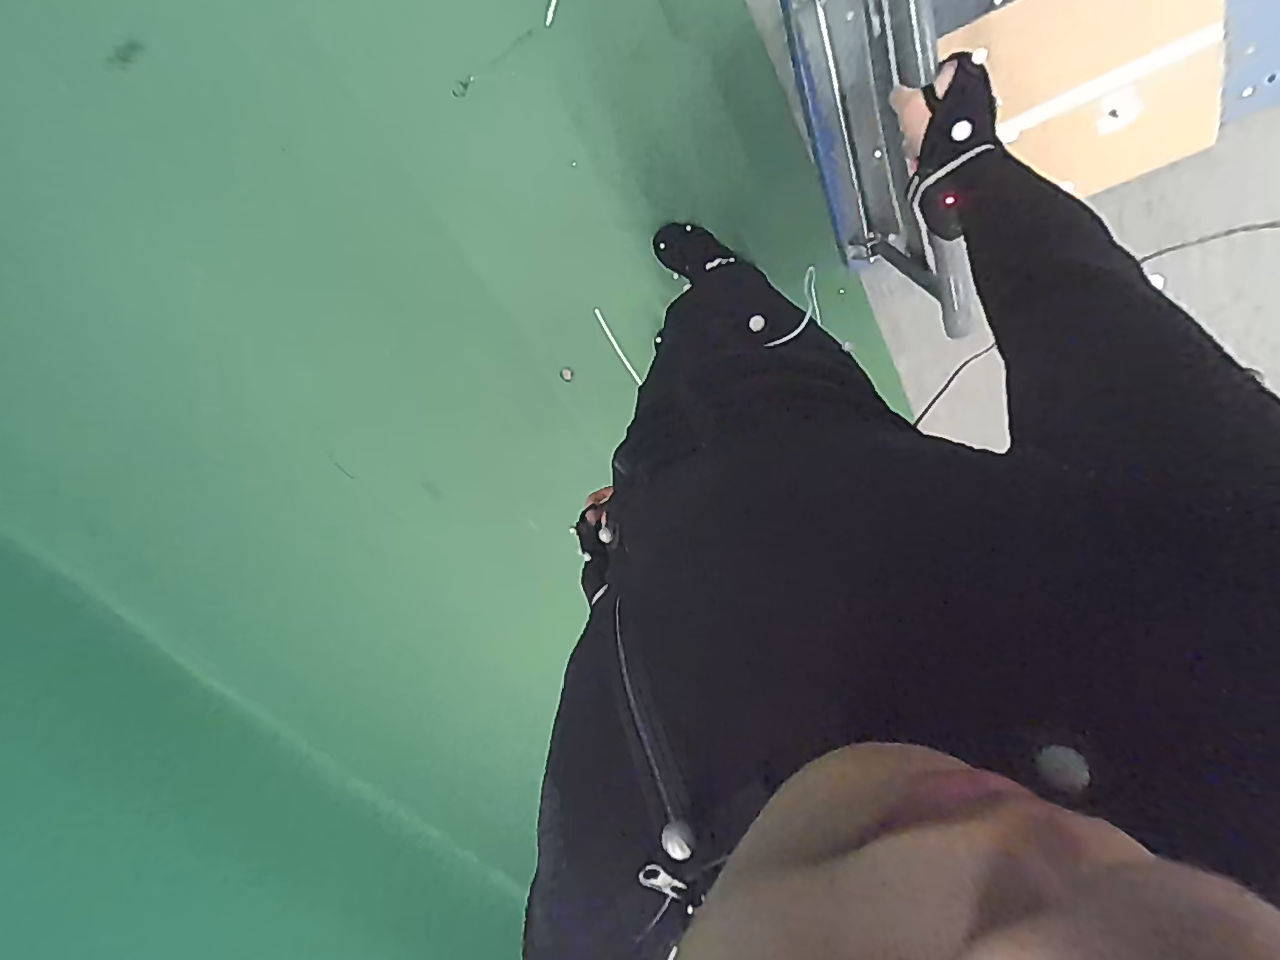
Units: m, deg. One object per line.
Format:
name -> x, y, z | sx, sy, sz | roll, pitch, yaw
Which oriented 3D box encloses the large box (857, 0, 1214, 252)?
large box -> 0.665, -0.662, 0.971 | 0.408, 0.320, 0.320 | -20, 117, 15
